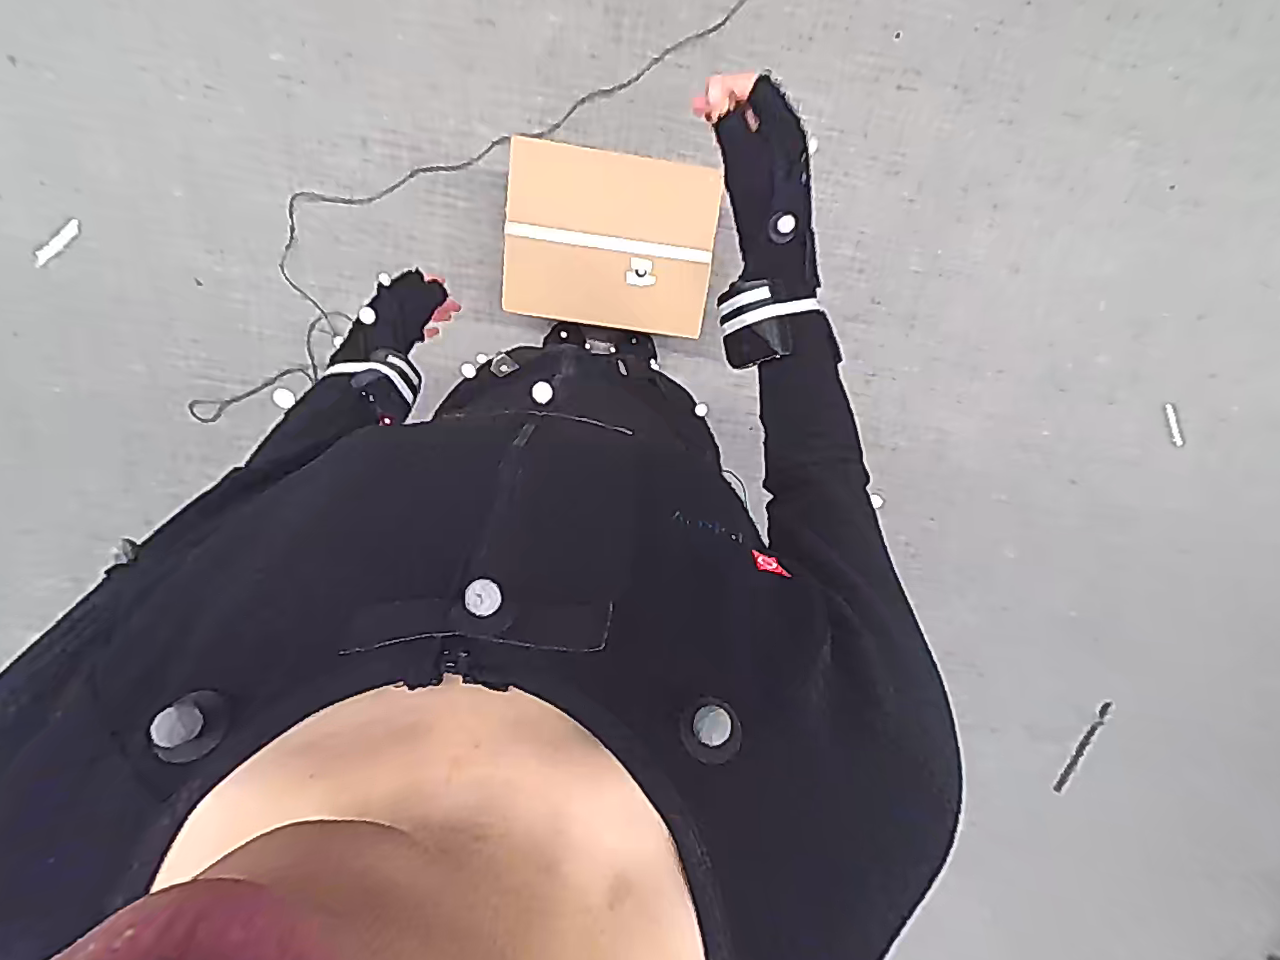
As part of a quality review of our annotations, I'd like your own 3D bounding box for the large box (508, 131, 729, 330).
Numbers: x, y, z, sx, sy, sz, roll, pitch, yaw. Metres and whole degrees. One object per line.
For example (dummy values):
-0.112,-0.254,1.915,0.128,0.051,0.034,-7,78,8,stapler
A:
-0.055,-0.513,1.177,0.408,0.320,0.320,7,108,-5,large box
